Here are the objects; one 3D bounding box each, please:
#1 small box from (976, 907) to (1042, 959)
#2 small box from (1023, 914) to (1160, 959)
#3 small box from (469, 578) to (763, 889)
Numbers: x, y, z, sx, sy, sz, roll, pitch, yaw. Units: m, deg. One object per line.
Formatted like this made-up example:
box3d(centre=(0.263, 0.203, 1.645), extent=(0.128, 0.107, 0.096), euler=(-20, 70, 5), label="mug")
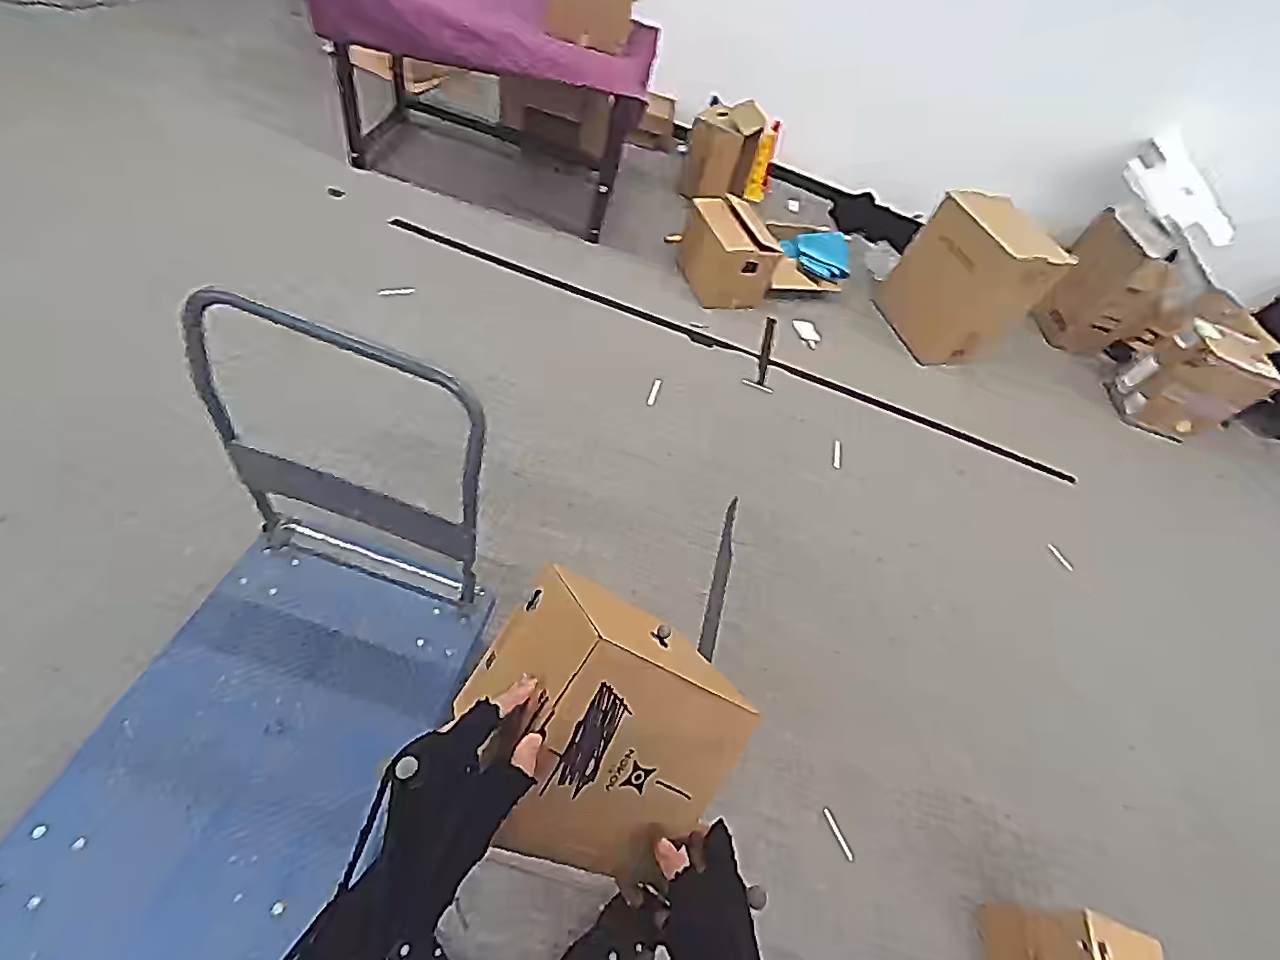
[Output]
box3d(centre=(0.947, 1.153, 1.294), extent=(0.168, 0.176, 0.179), euler=(18, 51, -5), label="small box")
box3d(centre=(0.975, 1.061, 1.160), extent=(0.179, 0.176, 0.168), euler=(24, 51, -2), label="small box")
box3d(centre=(-0.034, 0.208, 0.486), extent=(0.179, 0.176, 0.168), euler=(35, 86, -25), label="small box")
